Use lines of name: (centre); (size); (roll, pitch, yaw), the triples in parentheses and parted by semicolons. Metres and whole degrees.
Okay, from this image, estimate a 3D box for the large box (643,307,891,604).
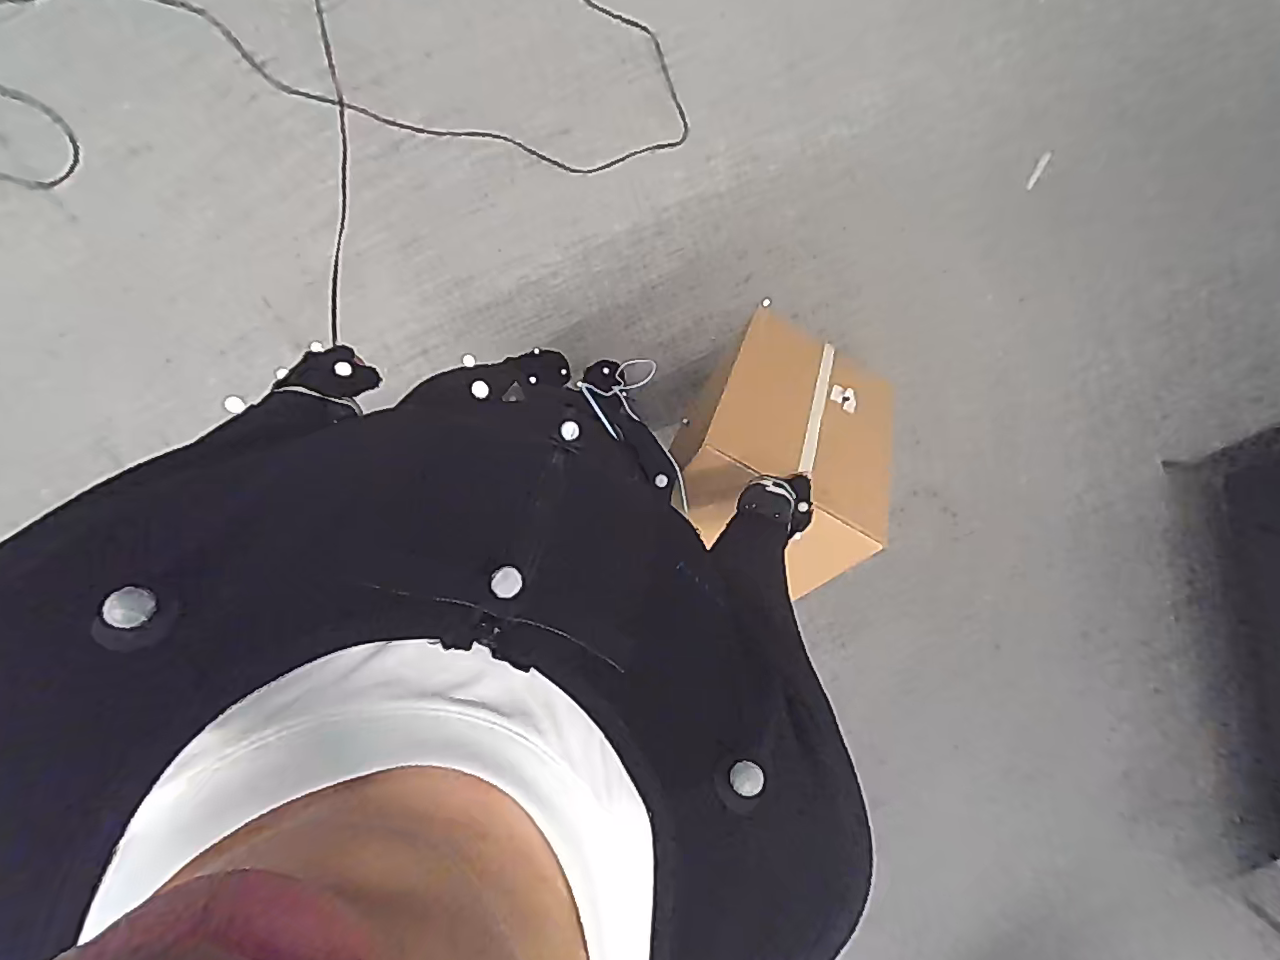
large box: (0.244, -0.042, 1.034); (0.320, 0.408, 0.320); (28, 141, -5)
